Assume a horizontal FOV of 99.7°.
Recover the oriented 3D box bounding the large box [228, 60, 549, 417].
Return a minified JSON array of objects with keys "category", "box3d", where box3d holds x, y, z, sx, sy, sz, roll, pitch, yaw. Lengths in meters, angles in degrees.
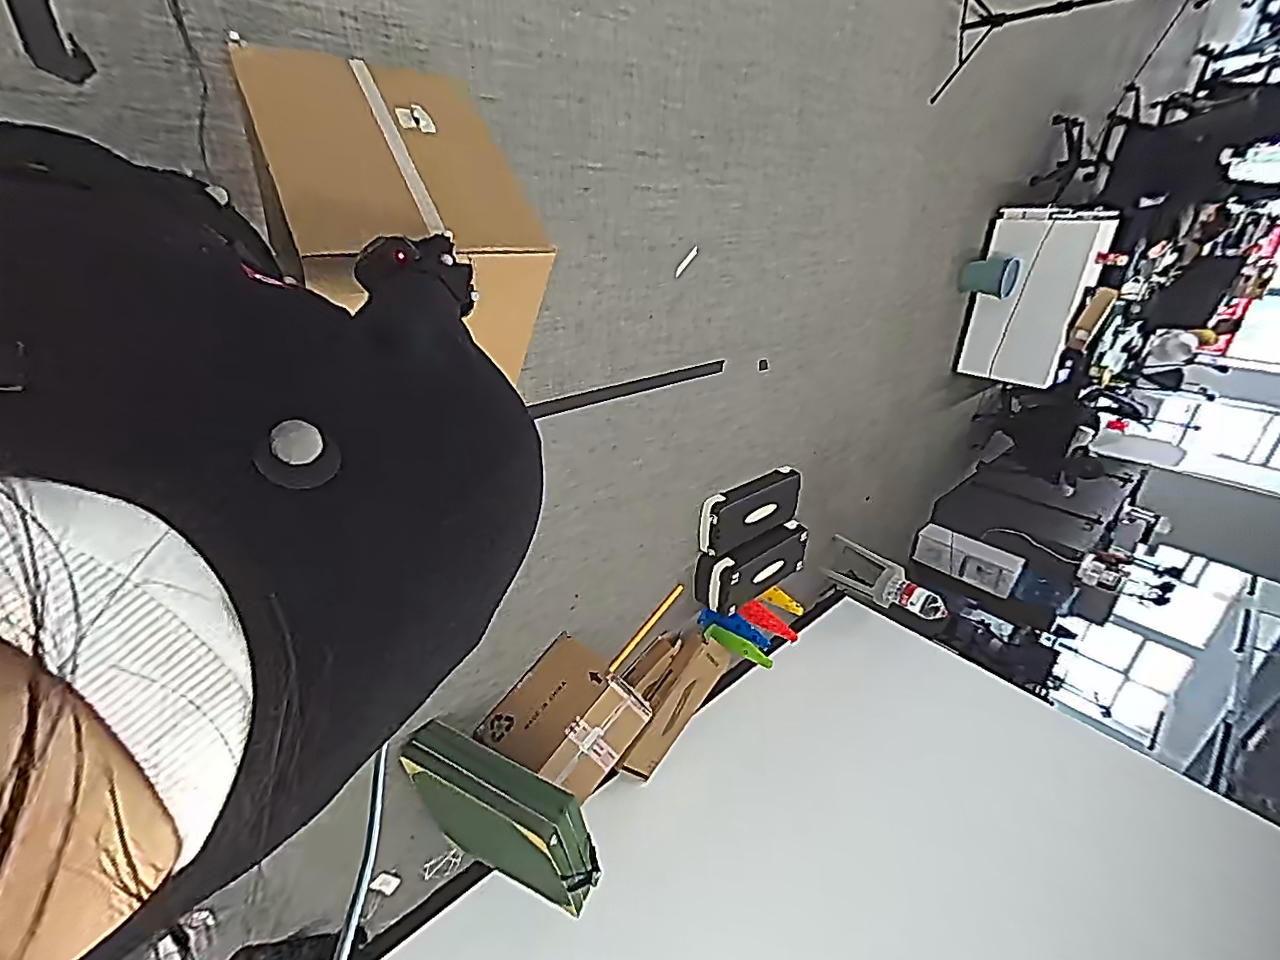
[{"category":"large box","box3d":[-0.394,-0.368,0.865,0.320,0.408,0.320,-16,158,-33]}]
